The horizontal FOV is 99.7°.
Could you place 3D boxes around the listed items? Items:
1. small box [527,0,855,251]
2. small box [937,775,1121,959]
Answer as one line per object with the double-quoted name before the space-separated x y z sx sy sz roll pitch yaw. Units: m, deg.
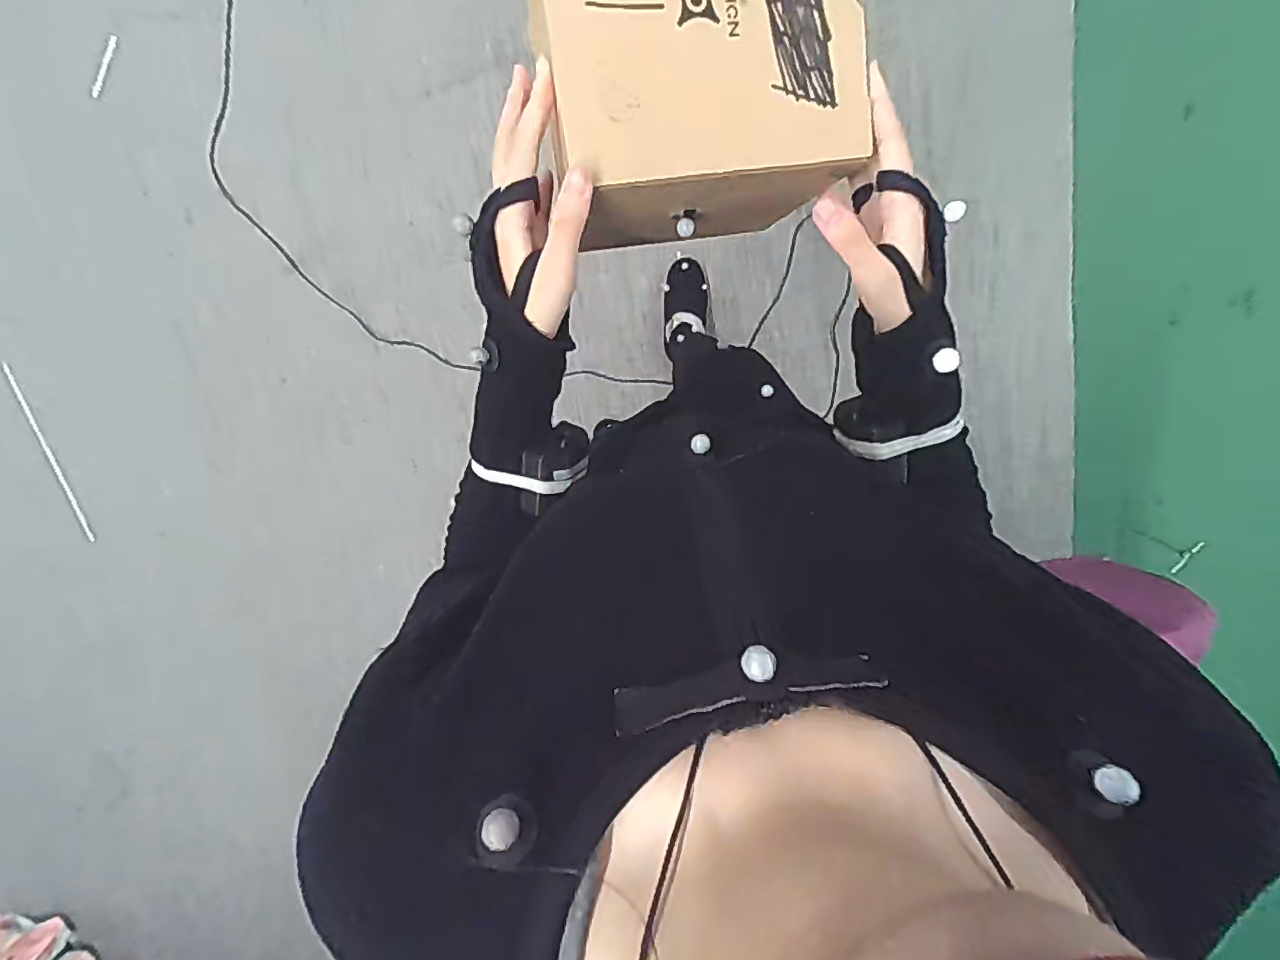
"small box" 0.020 -0.264 0.367 0.179 0.176 0.168 -9 103 -6
"small box" 0.588 0.600 0.841 0.179 0.176 0.168 -14 104 3
